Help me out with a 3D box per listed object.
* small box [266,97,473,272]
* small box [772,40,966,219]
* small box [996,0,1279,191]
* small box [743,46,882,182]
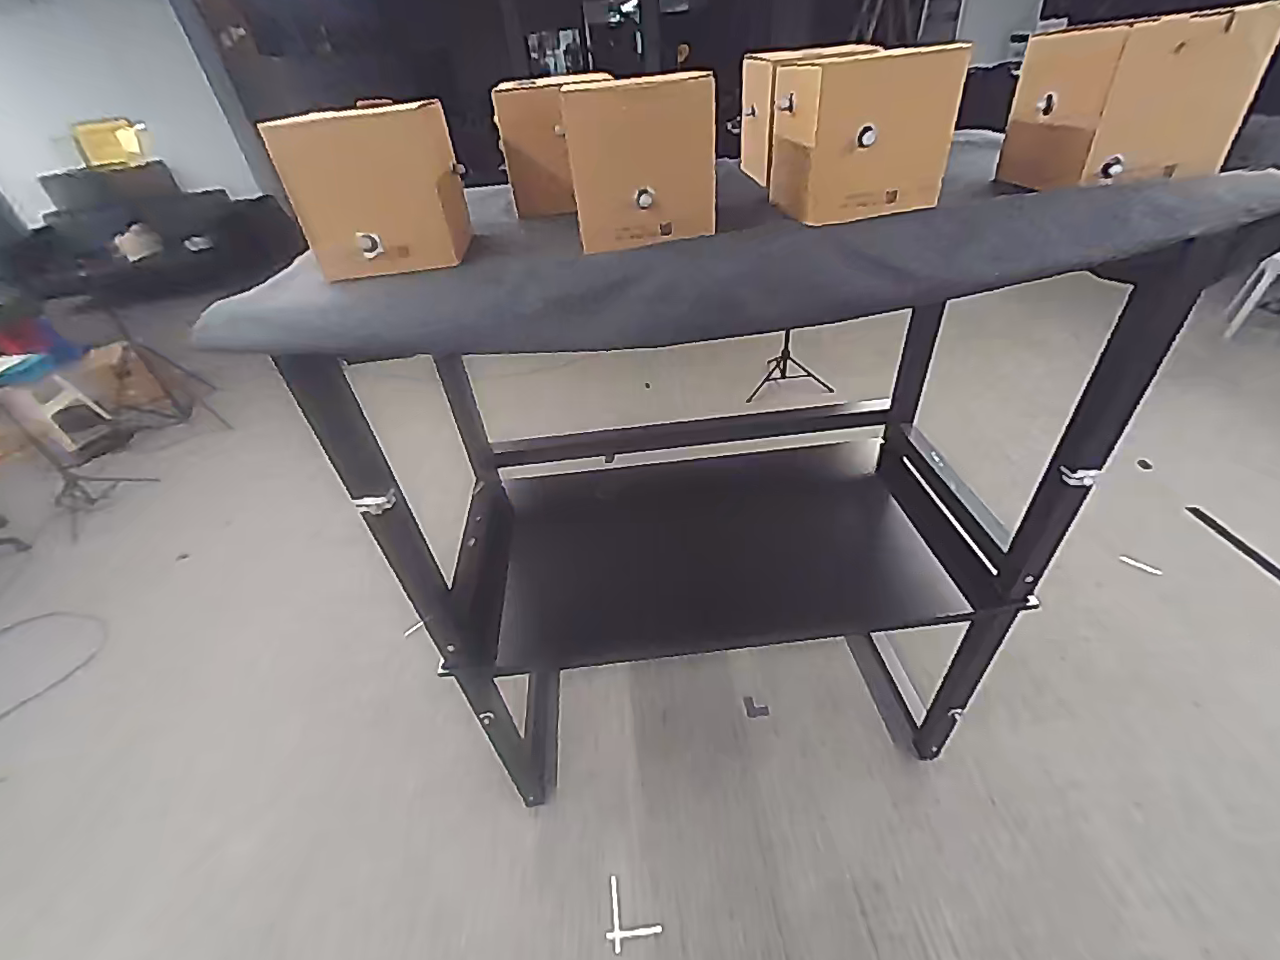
[{"bbox_3d":[-0.320,-0.377,0.688,0.168,0.176,0.179,-9,37,-3],"label":"small box"},{"bbox_3d":[0.274,-0.443,0.694,0.168,0.176,0.179,-7,36,0],"label":"small box"},{"bbox_3d":[0.589,-0.466,0.673,0.168,0.176,0.179,-5,35,2],"label":"small box"},{"bbox_3d":[0.269,-0.601,0.893,0.168,0.176,0.179,-7,38,-1],"label":"small box"}]
